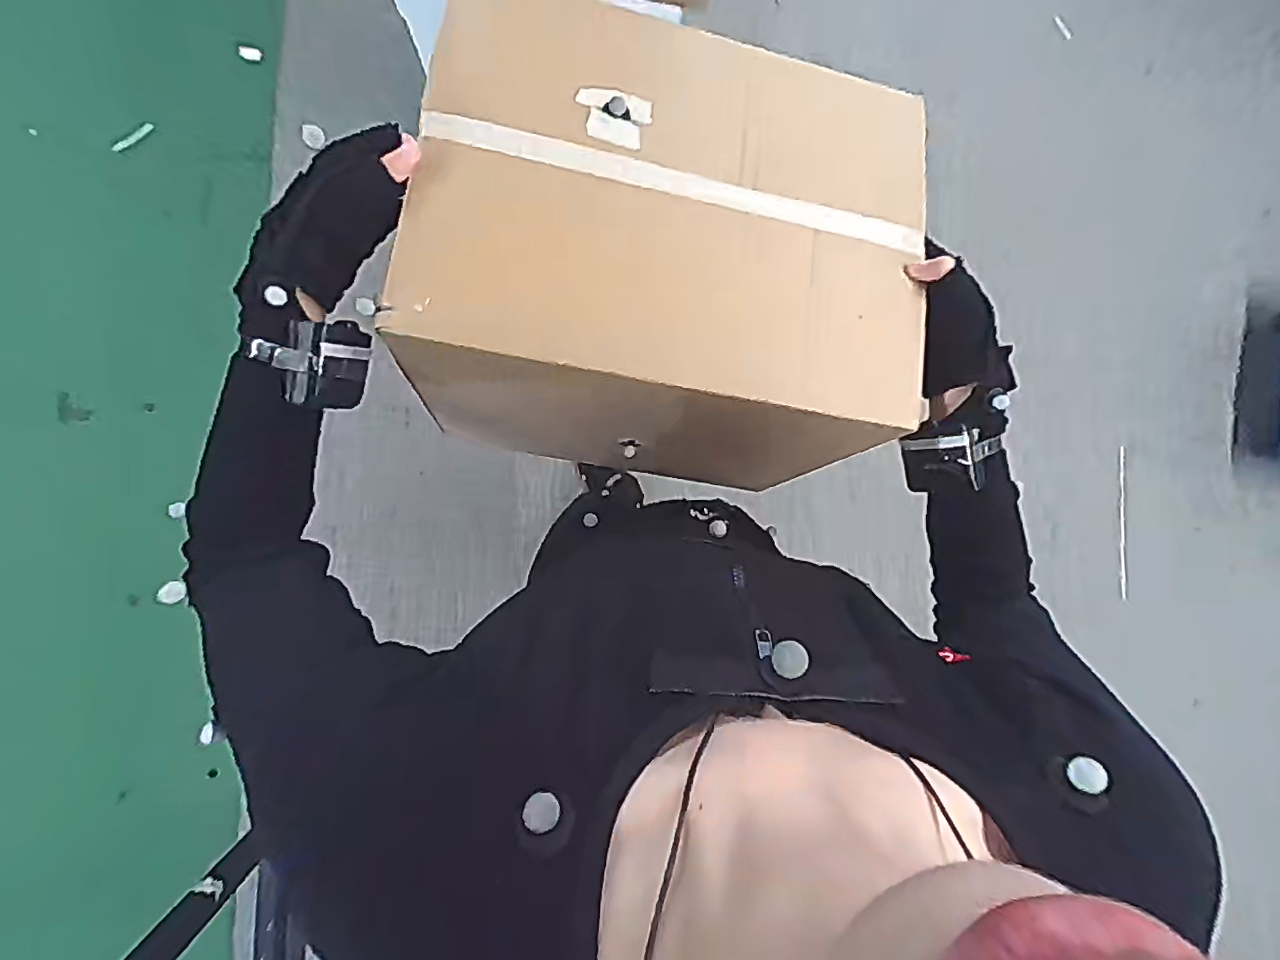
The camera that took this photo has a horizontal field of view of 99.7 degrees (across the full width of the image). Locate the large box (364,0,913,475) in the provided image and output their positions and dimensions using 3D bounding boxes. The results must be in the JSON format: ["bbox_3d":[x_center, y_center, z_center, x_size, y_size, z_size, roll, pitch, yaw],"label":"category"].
[{"bbox_3d":[0.002,-0.199,0.561,0.408,0.320,0.320,9,79,-8],"label":"large box"}]
